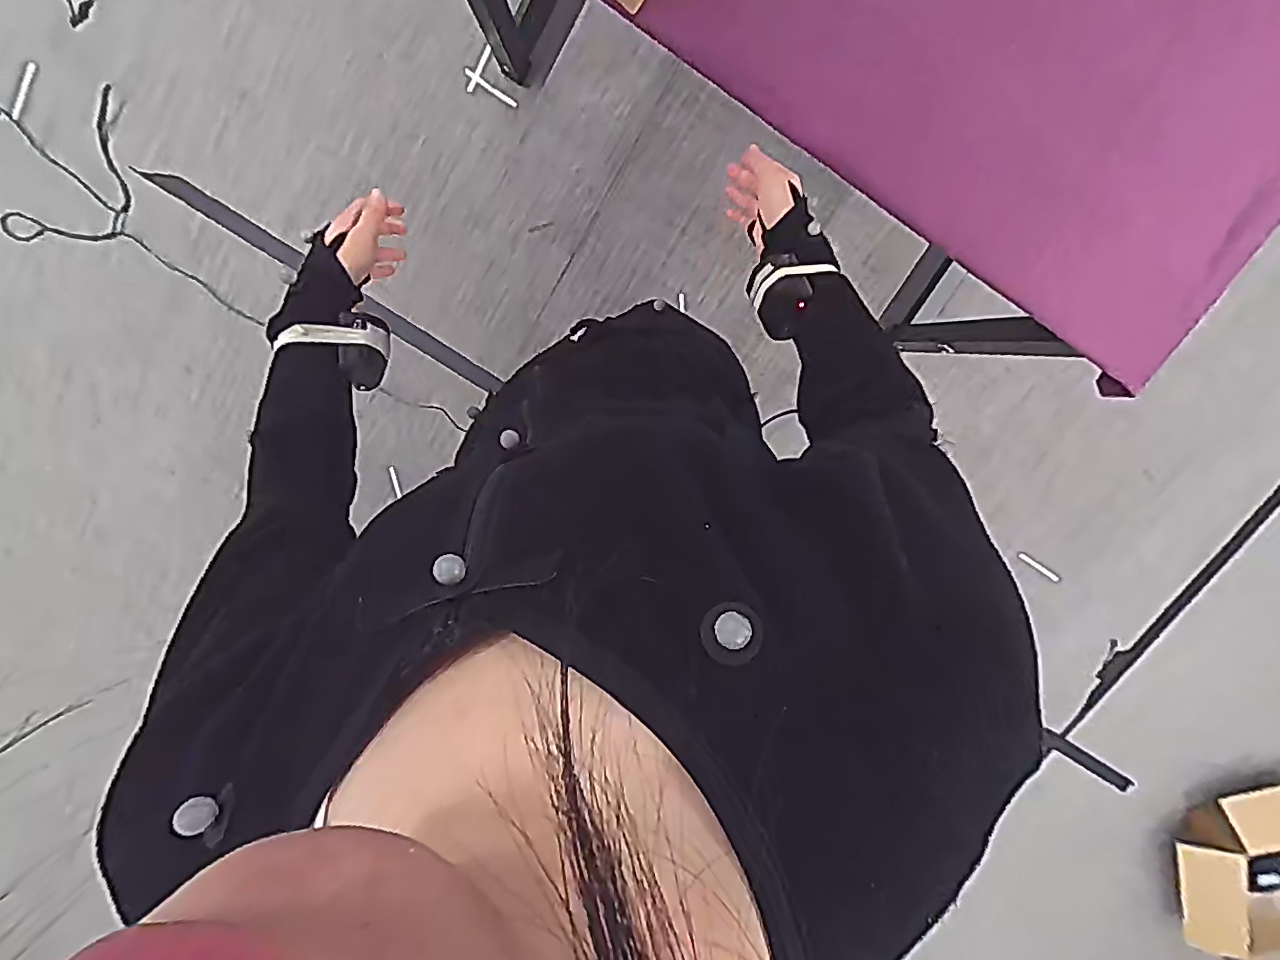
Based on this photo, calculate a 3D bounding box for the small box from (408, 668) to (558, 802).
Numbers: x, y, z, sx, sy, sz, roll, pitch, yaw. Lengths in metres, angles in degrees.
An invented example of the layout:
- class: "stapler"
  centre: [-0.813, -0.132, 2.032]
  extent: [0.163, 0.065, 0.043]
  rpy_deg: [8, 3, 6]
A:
- class: "small box"
  centre: [-0.256, 0.467, 0.930]
  extent: [0.168, 0.176, 0.179]
  rpy_deg: [32, 103, -8]
